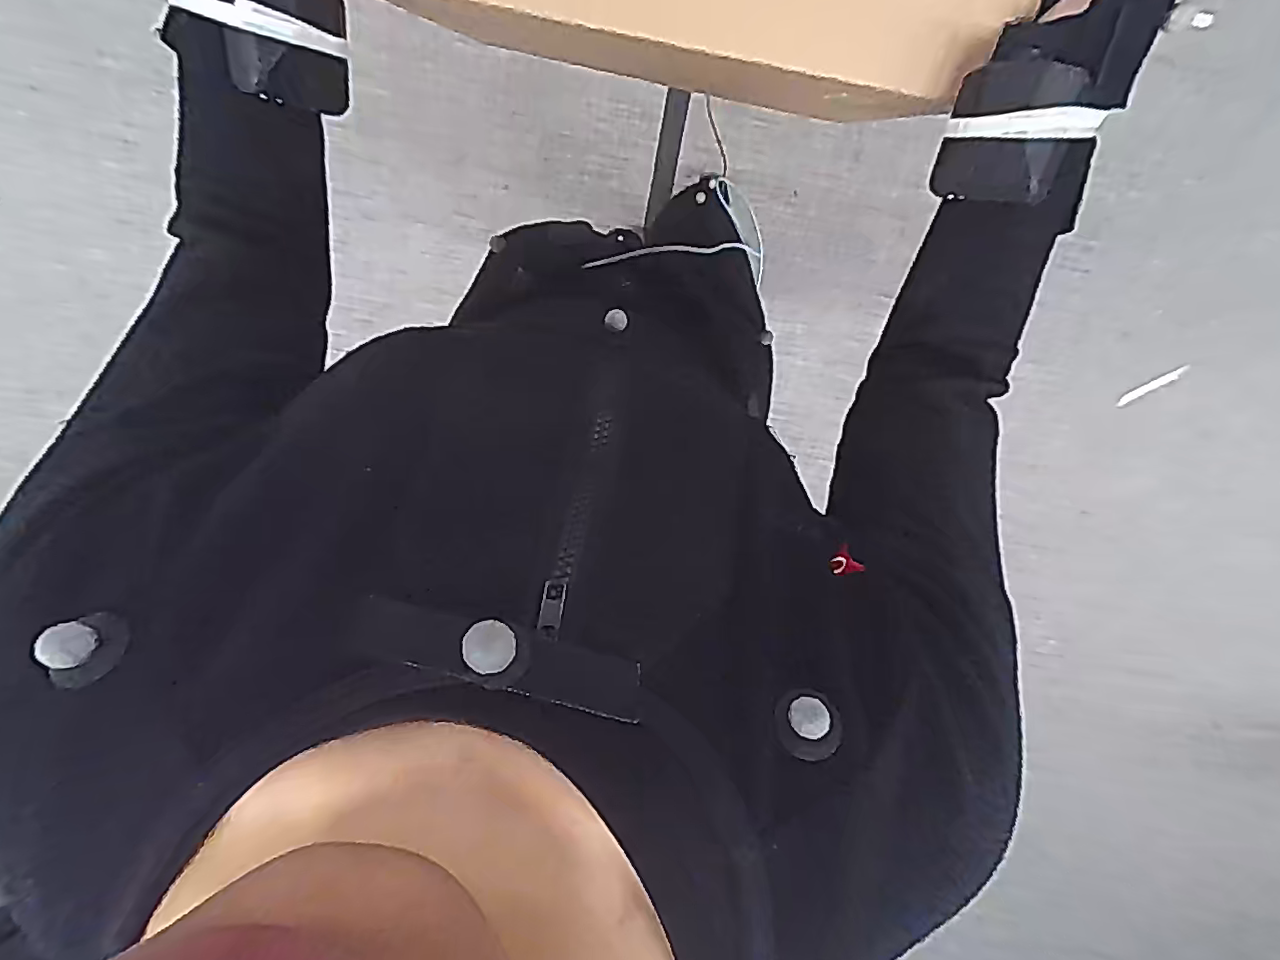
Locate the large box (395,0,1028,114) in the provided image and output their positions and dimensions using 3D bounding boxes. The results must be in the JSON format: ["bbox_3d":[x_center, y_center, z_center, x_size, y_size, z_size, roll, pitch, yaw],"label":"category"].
[{"bbox_3d":[0.045,-0.466,0.363,0.408,0.320,0.320,9,124,-3],"label":"large box"}]
